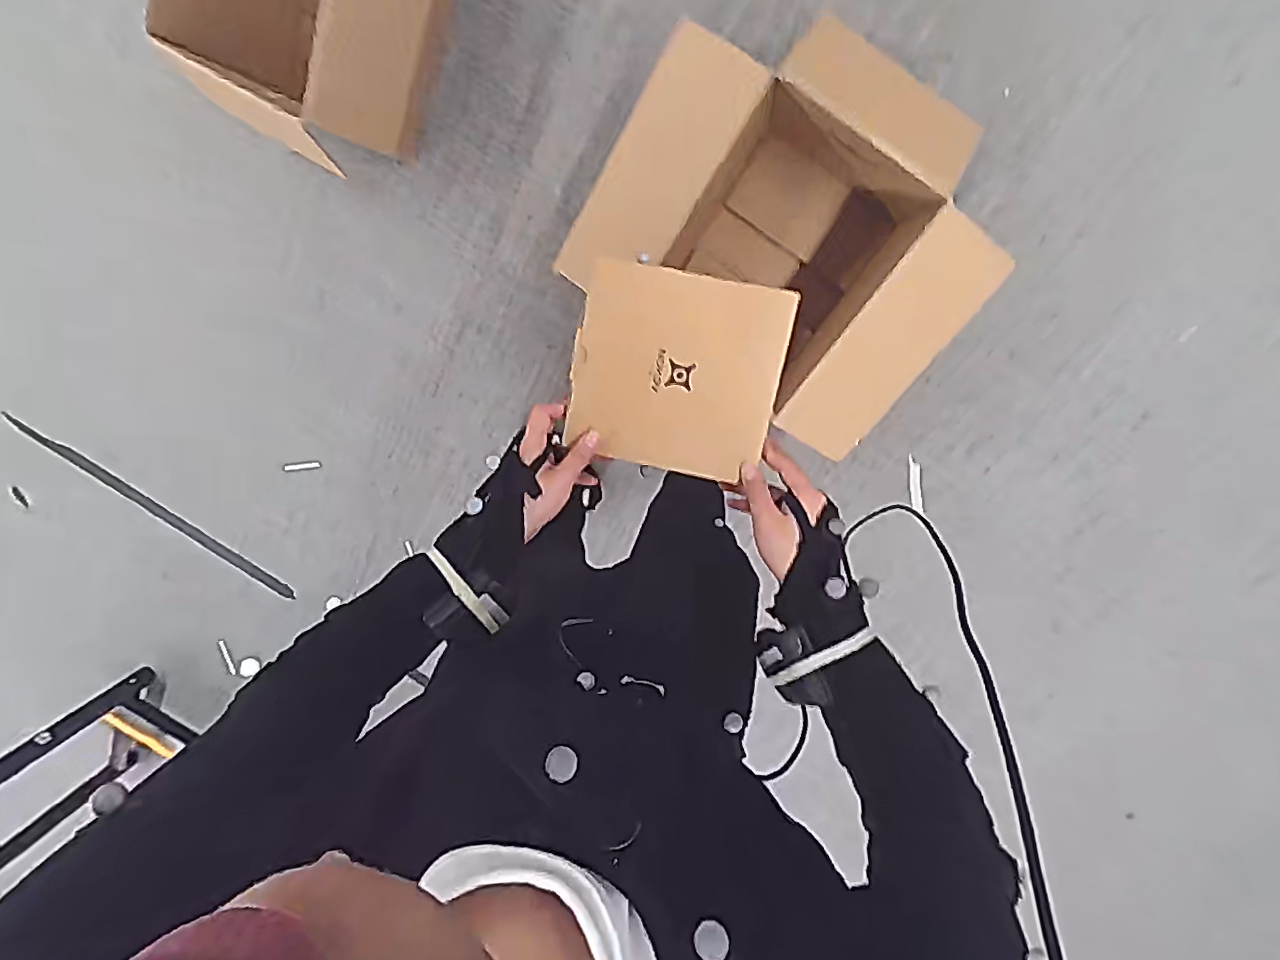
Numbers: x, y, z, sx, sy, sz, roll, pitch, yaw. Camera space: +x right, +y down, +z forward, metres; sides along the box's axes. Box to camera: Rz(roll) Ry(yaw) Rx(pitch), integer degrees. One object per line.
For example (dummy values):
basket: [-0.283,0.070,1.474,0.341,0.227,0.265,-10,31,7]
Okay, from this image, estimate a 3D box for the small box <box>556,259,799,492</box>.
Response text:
small box: [0.035,-0.100,0.526,0.179,0.176,0.168,12,102,4]
